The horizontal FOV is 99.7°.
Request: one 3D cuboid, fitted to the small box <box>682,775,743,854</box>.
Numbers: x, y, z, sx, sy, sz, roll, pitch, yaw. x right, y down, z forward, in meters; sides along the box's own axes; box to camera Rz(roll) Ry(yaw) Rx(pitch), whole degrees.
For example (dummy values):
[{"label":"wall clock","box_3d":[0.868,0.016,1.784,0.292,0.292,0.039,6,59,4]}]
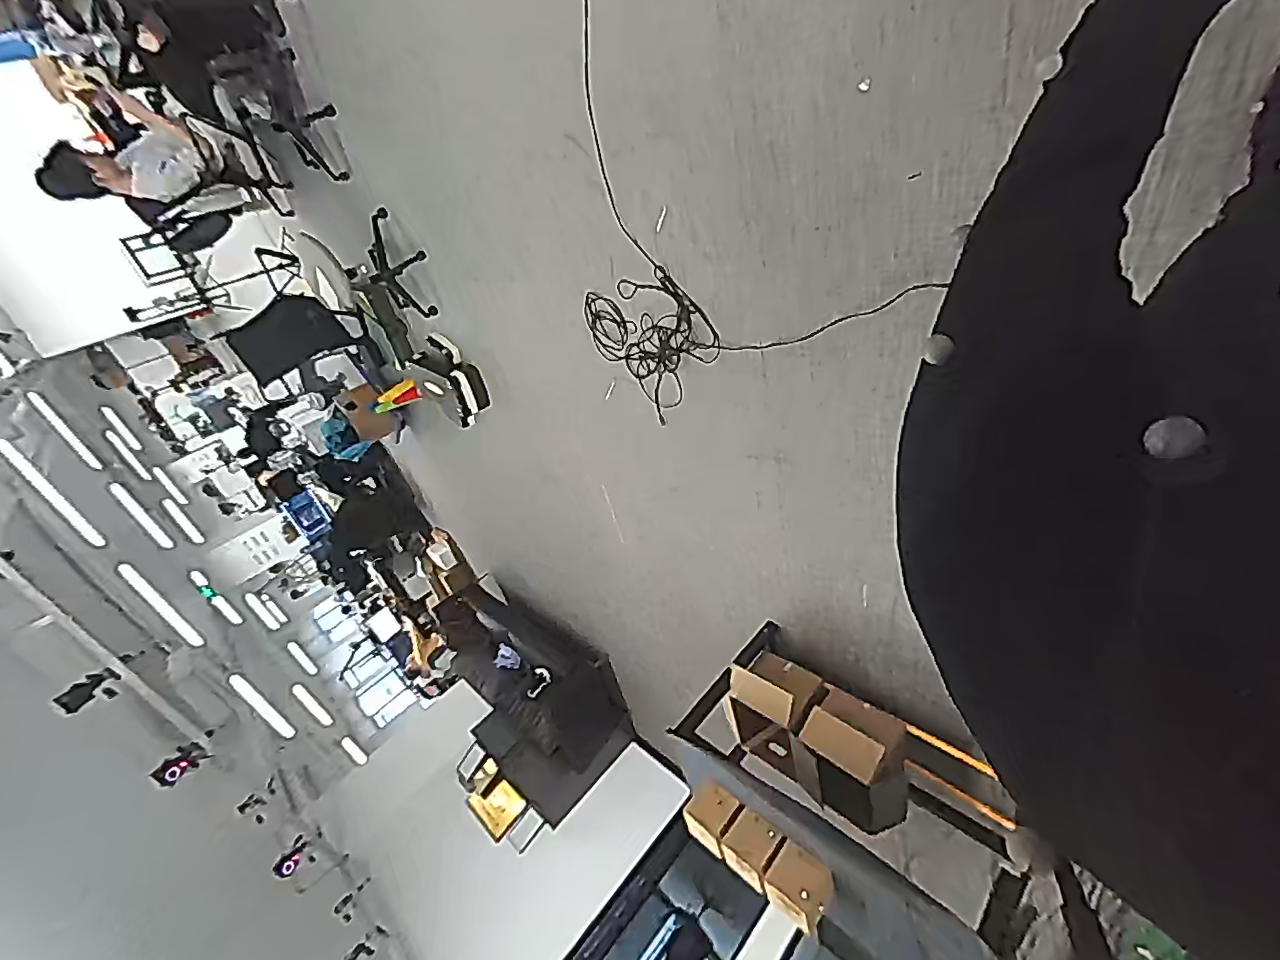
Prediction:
[{"label":"small box","box_3d":[0.295,1.336,2.168,0.168,0.176,0.179,19,135,43]}]
